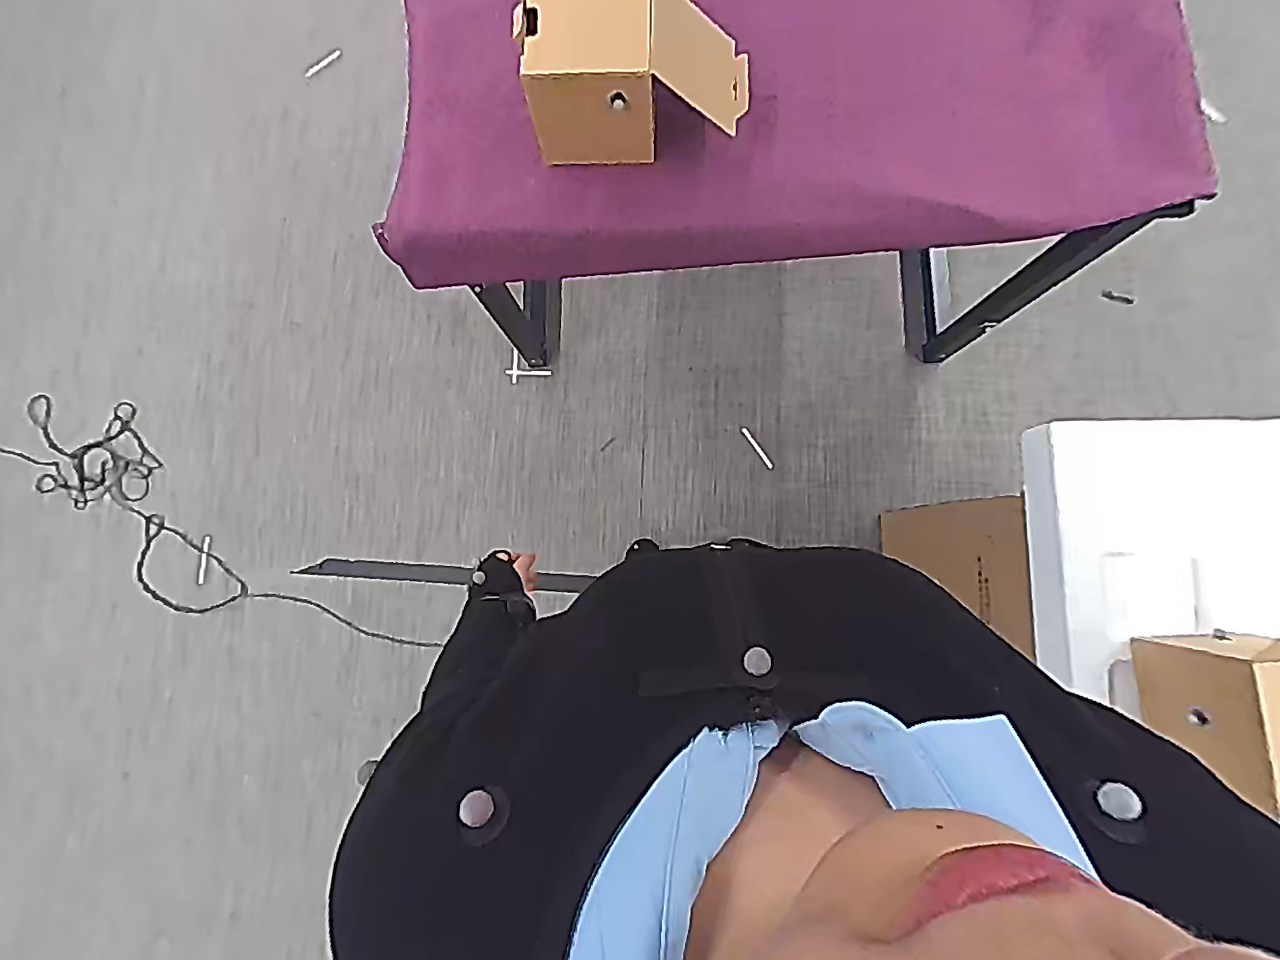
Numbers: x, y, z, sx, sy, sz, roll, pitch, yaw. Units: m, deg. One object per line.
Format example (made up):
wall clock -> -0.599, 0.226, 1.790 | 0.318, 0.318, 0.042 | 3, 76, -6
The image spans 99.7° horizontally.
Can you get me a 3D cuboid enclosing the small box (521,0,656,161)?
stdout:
small box -> -0.066, -0.601, 0.798 | 0.179, 0.176, 0.168 | 1, 82, 3
